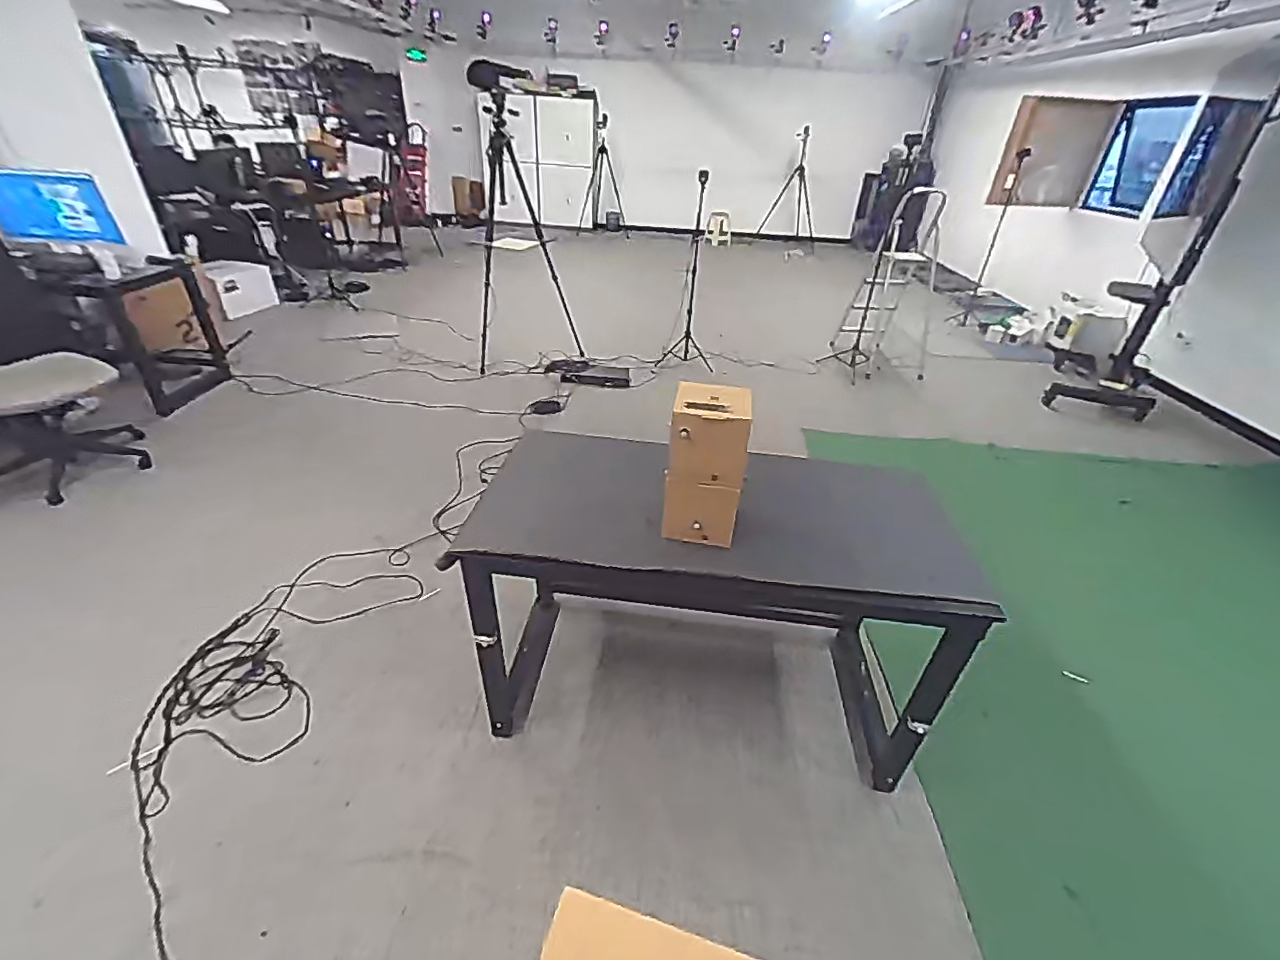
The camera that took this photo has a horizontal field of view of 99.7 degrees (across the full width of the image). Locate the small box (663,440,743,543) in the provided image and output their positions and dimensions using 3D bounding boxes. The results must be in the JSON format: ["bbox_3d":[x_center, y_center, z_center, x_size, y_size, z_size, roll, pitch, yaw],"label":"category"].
[{"bbox_3d":[0.151,0.026,1.305,0.168,0.176,0.179,8,33,8],"label":"small box"}]
